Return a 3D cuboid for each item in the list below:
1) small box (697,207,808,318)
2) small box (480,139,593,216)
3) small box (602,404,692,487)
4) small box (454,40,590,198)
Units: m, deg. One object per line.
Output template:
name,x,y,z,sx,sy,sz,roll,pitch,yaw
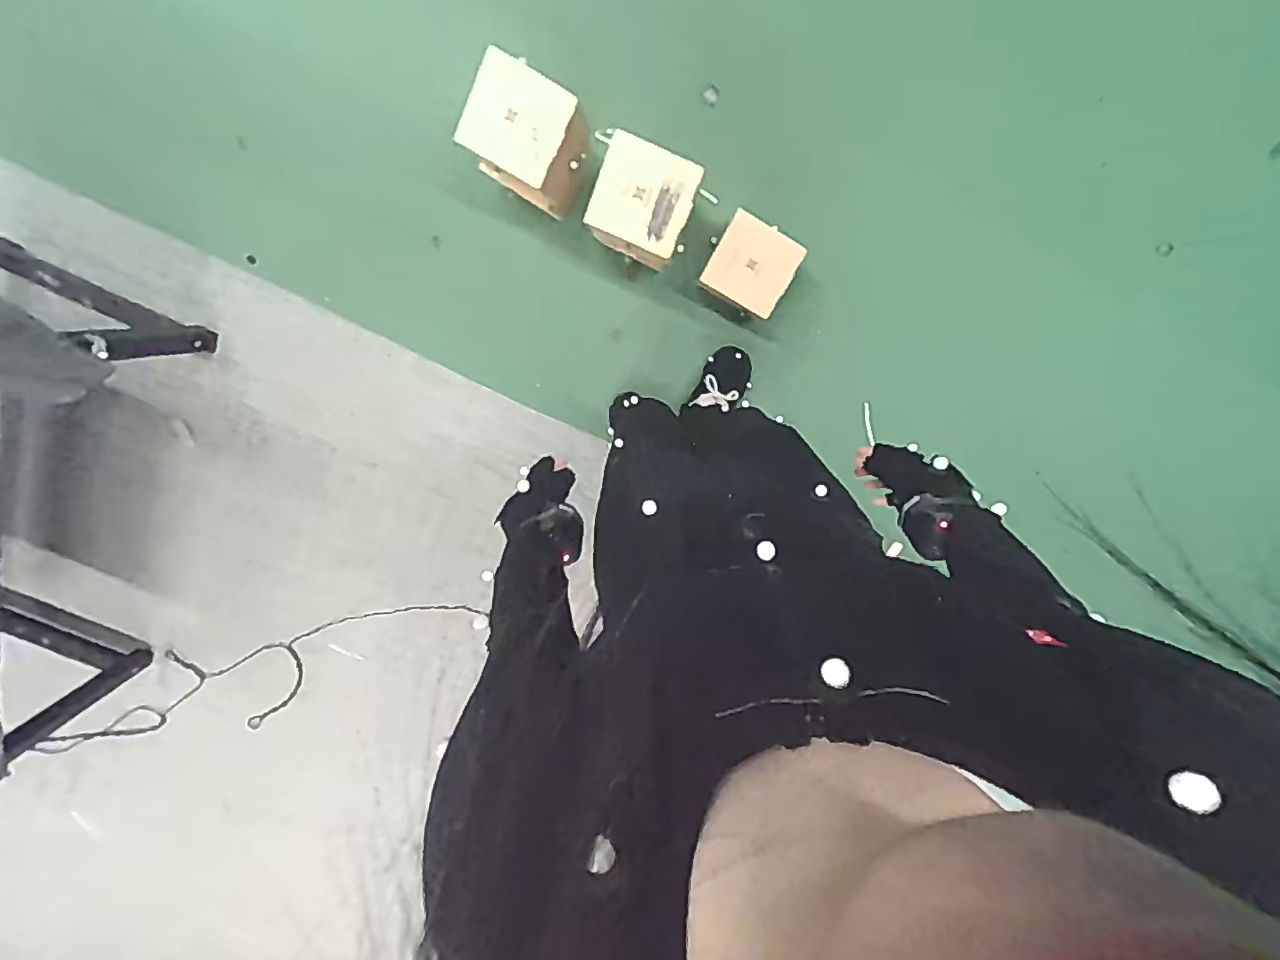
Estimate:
small box,0.246,-0.489,1.230,0.179,0.176,0.168,29,106,-6
small box,-0.218,-0.712,1.187,0.168,0.176,0.179,30,106,-6
small box,0.015,-0.092,1.366,0.179,0.176,0.168,16,107,17
small box,-0.214,-0.667,1.028,0.179,0.176,0.168,29,107,-6
